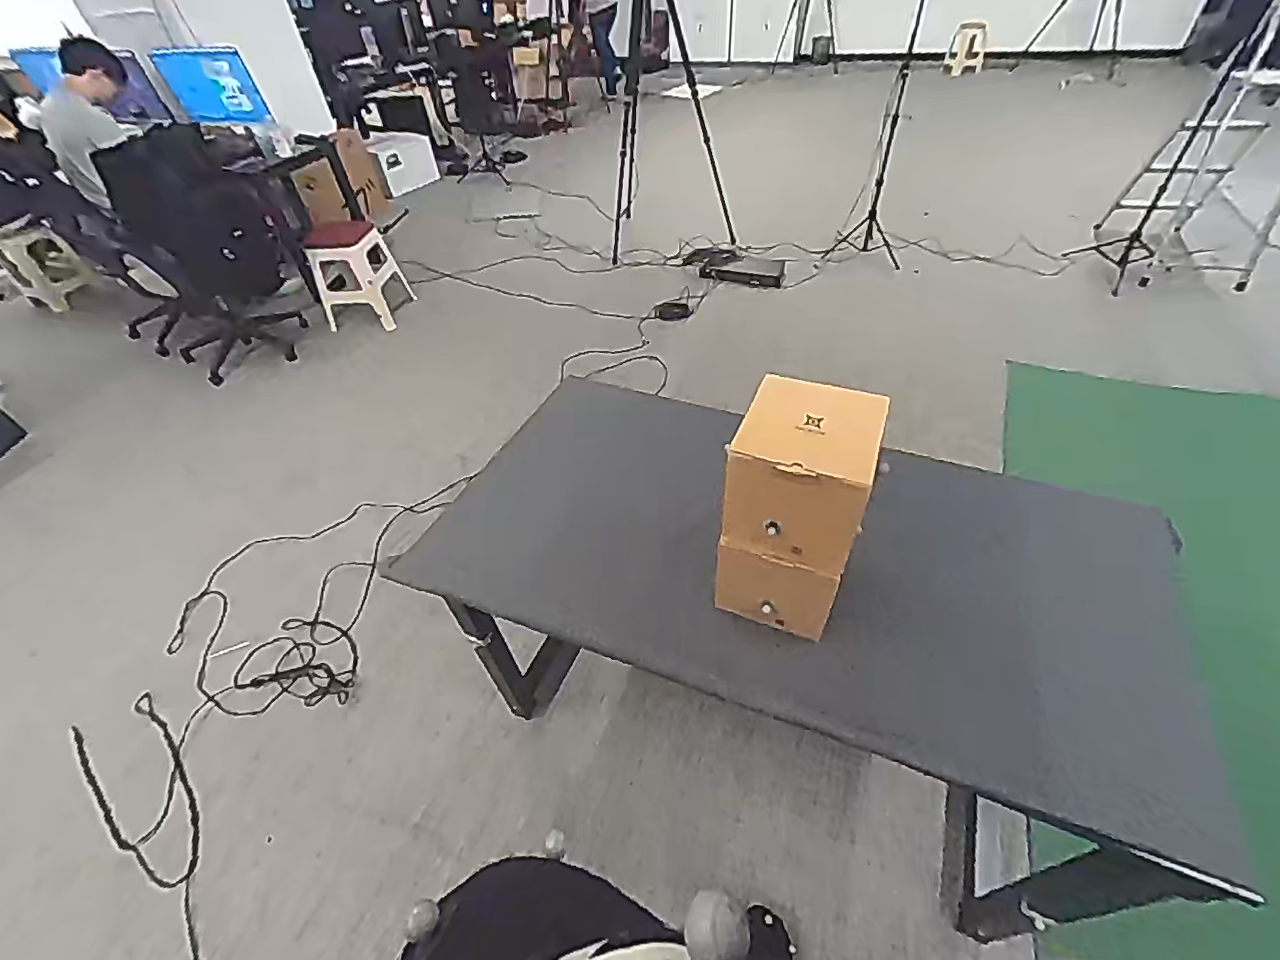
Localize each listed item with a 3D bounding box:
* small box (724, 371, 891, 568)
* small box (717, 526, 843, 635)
[{"bbox_3d":[0.217,-0.015,0.724,0.168,0.176,0.179,17,49,18],"label":"small box"},{"bbox_3d":[0.222,0.103,0.835,0.168,0.176,0.179,16,48,19],"label":"small box"}]
